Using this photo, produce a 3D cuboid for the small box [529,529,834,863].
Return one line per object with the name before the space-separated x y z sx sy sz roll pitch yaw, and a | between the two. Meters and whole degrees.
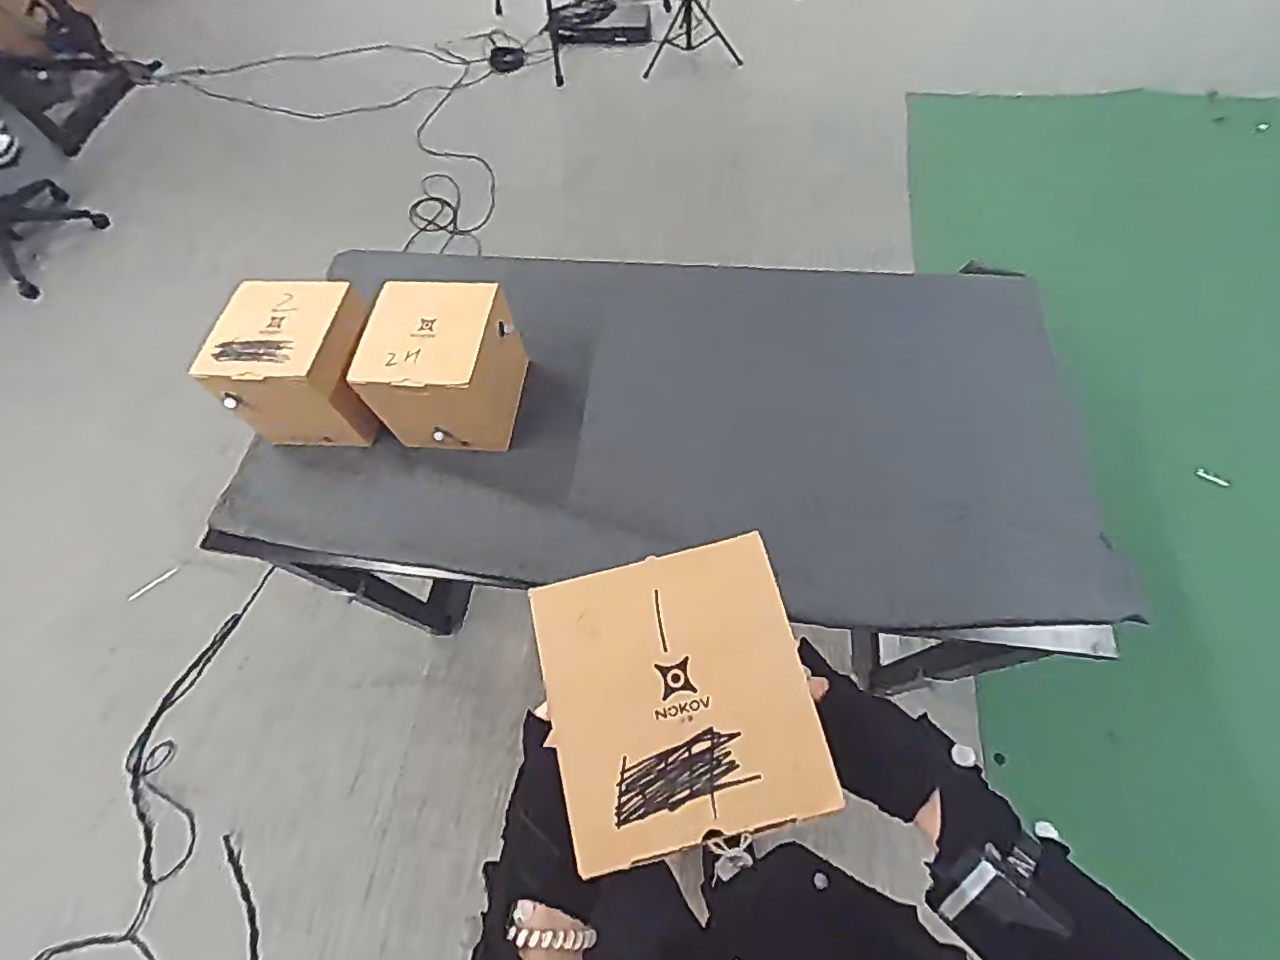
small box | 0.025 0.152 0.422 0.168 0.176 0.179 -13 73 -2
